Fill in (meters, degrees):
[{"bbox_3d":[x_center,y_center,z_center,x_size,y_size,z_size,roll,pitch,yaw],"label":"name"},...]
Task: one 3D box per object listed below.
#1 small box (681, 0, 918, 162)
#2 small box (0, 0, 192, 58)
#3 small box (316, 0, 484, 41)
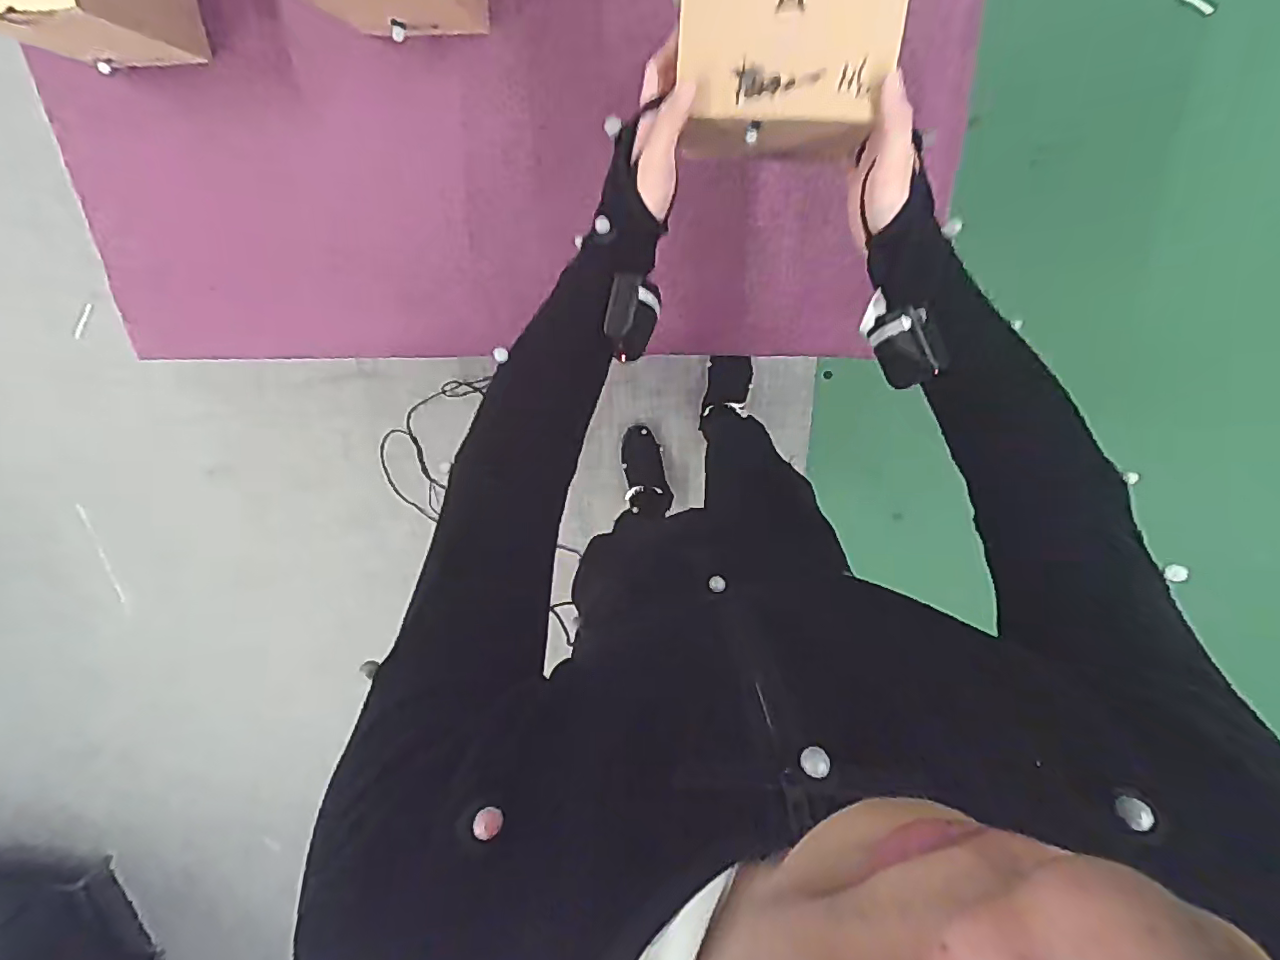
[{"bbox_3d":[0.124,-0.388,0.458,0.168,0.176,0.179,5,113,4],"label":"small box"},{"bbox_3d":[-0.648,-0.587,0.590,0.168,0.176,0.179,2,113,4],"label":"small box"},{"bbox_3d":[-0.272,-0.590,0.555,0.168,0.176,0.179,4,114,5],"label":"small box"}]
